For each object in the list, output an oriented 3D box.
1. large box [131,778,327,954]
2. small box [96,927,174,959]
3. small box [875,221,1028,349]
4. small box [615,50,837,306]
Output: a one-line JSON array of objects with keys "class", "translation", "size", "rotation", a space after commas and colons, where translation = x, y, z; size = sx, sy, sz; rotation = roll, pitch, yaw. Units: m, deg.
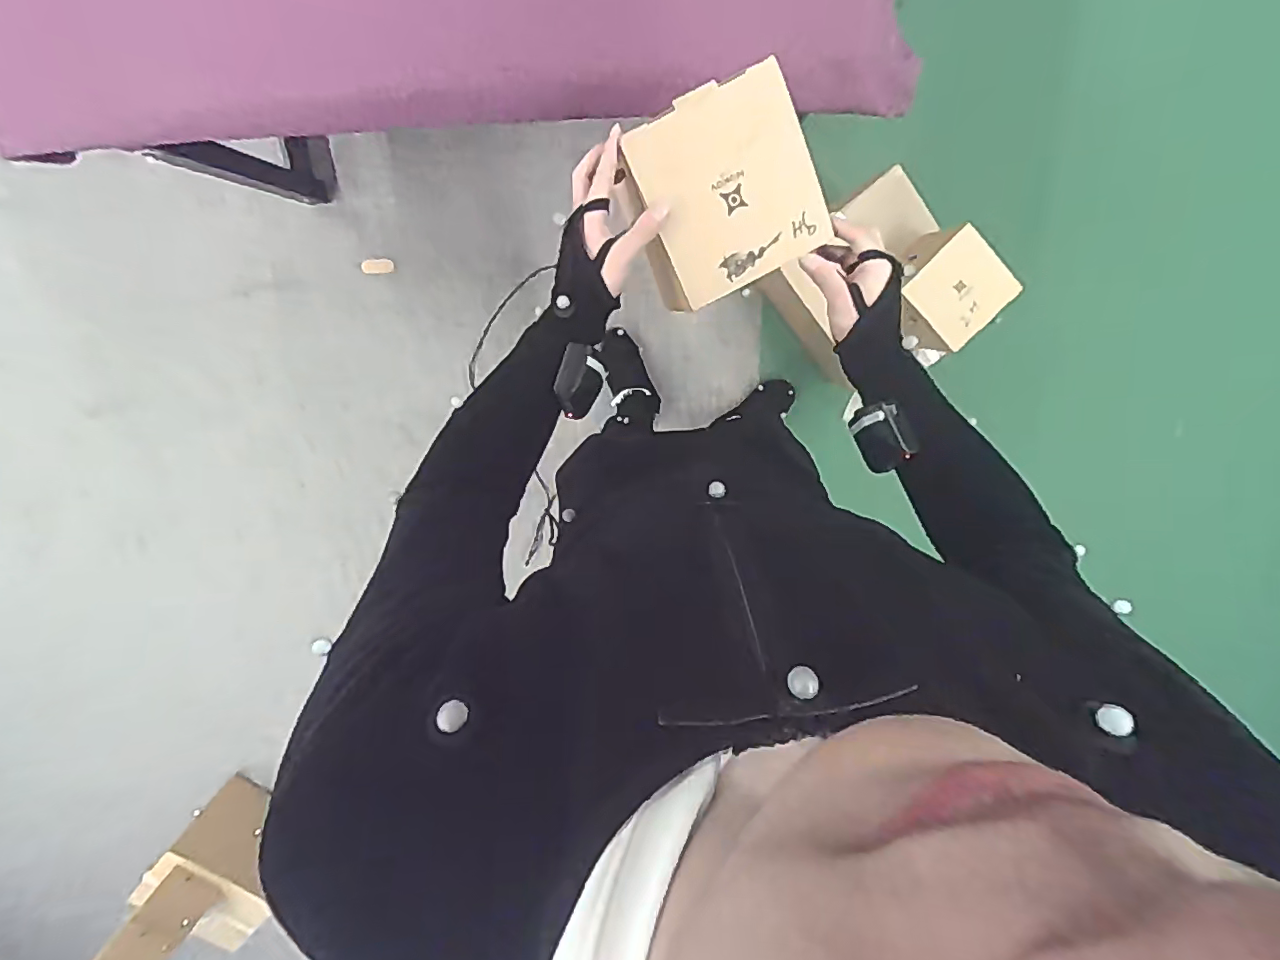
[{"class": "large box", "translation": [-1.453, 1.374, 1.946], "size": [0.408, 0.320, 0.320], "rotation": [39, 105, -12]}, {"class": "small box", "translation": [-1.486, 1.427, 1.533], "size": [0.168, 0.176, 0.179], "rotation": [41, 104, -12]}, {"class": "small box", "translation": [0.619, -0.387, 1.101], "size": [0.179, 0.176, 0.168], "rotation": [41, 103, -12]}, {"class": "small box", "translation": [0.081, -0.308, 0.597], "size": [0.168, 0.176, 0.179], "rotation": [-26, 107, 2]}]
